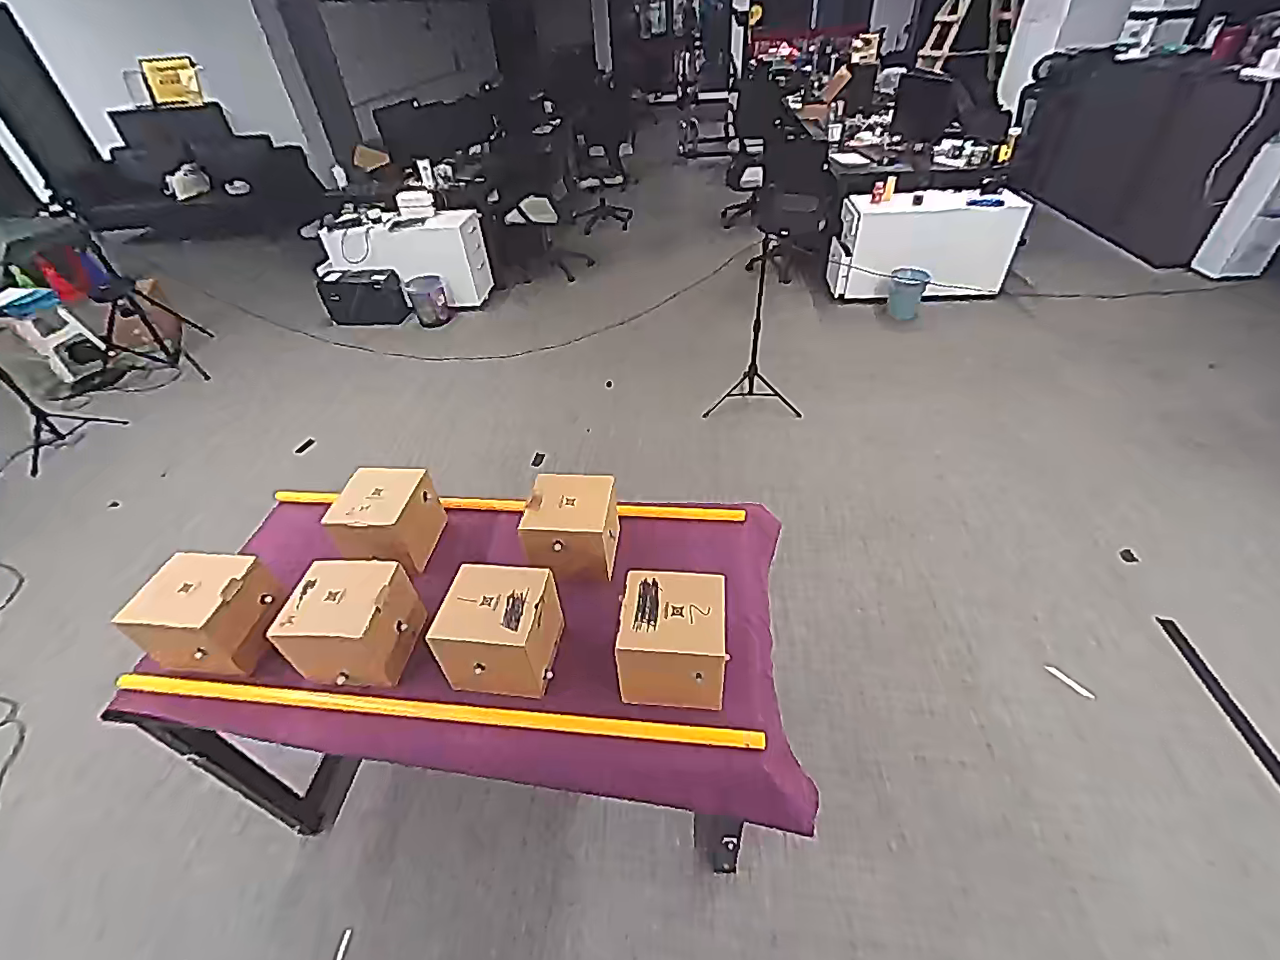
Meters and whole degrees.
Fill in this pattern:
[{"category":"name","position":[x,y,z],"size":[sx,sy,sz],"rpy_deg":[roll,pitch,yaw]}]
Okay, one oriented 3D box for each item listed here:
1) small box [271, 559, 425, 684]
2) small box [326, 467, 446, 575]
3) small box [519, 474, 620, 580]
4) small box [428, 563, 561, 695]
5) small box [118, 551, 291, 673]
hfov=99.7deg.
[{"category":"small box","position":[-0.535,0.271,1.025],"size":[0.179,0.176,0.168],"rpy_deg":[1,42,5]},{"category":"small box","position":[-0.562,0.092,1.228],"size":[0.168,0.176,0.179],"rpy_deg":[1,44,7]},{"category":"small box","position":[-0.142,0.104,1.180],"size":[0.179,0.176,0.168],"rpy_deg":[1,43,7]},{"category":"small box","position":[-0.253,0.275,0.994],"size":[0.179,0.176,0.168],"rpy_deg":[2,40,7]},{"category":"small box","position":[-0.829,0.260,1.059],"size":[0.179,0.176,0.168],"rpy_deg":[3,41,4]}]
